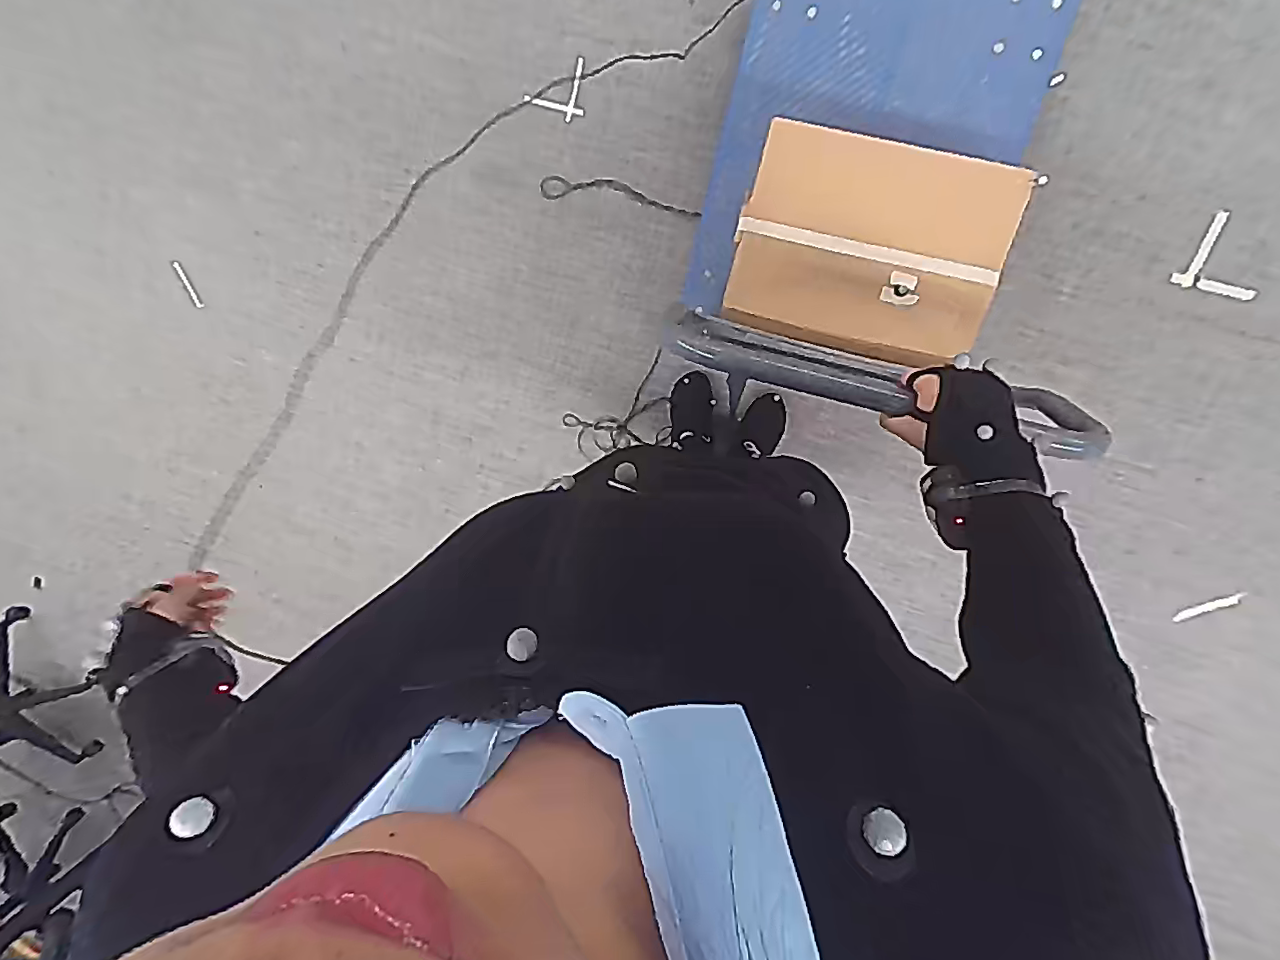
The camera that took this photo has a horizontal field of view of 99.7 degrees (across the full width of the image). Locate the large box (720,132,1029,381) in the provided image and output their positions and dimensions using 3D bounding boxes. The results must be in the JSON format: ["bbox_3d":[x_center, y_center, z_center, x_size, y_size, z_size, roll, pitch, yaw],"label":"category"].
[{"bbox_3d":[0.379,-0.388,1.006,0.408,0.320,0.320,15,106,4],"label":"large box"}]
